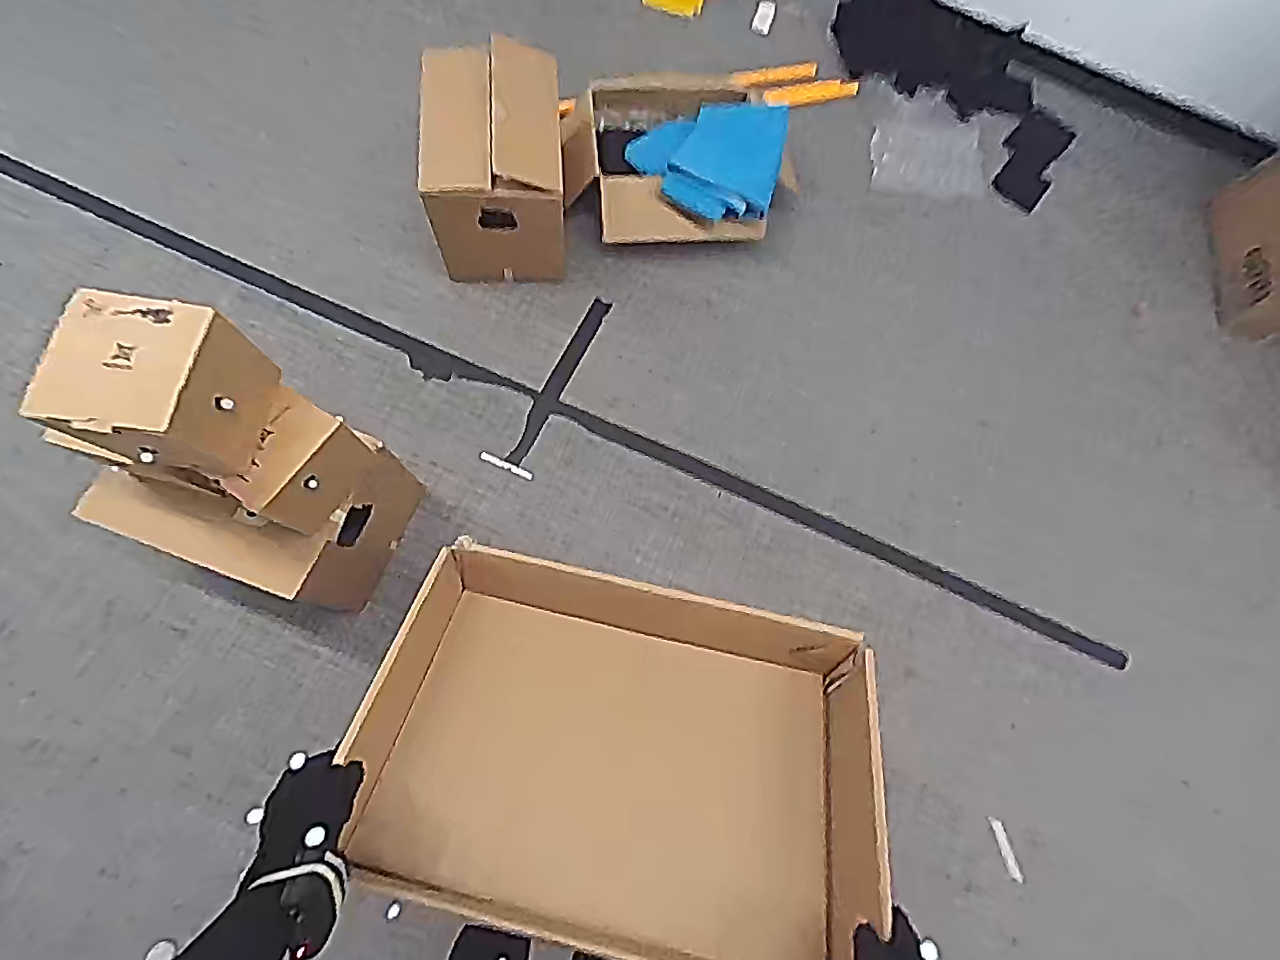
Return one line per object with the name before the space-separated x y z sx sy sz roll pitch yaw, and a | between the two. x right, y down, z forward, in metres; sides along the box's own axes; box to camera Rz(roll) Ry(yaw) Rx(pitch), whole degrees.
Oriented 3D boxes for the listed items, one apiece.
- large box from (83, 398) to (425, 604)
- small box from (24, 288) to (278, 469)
large box | -0.725 0.035 1.099 0.408 0.320 0.320 20 73 -1
small box | -0.632 -0.124 0.730 0.168 0.176 0.179 8 74 -4
